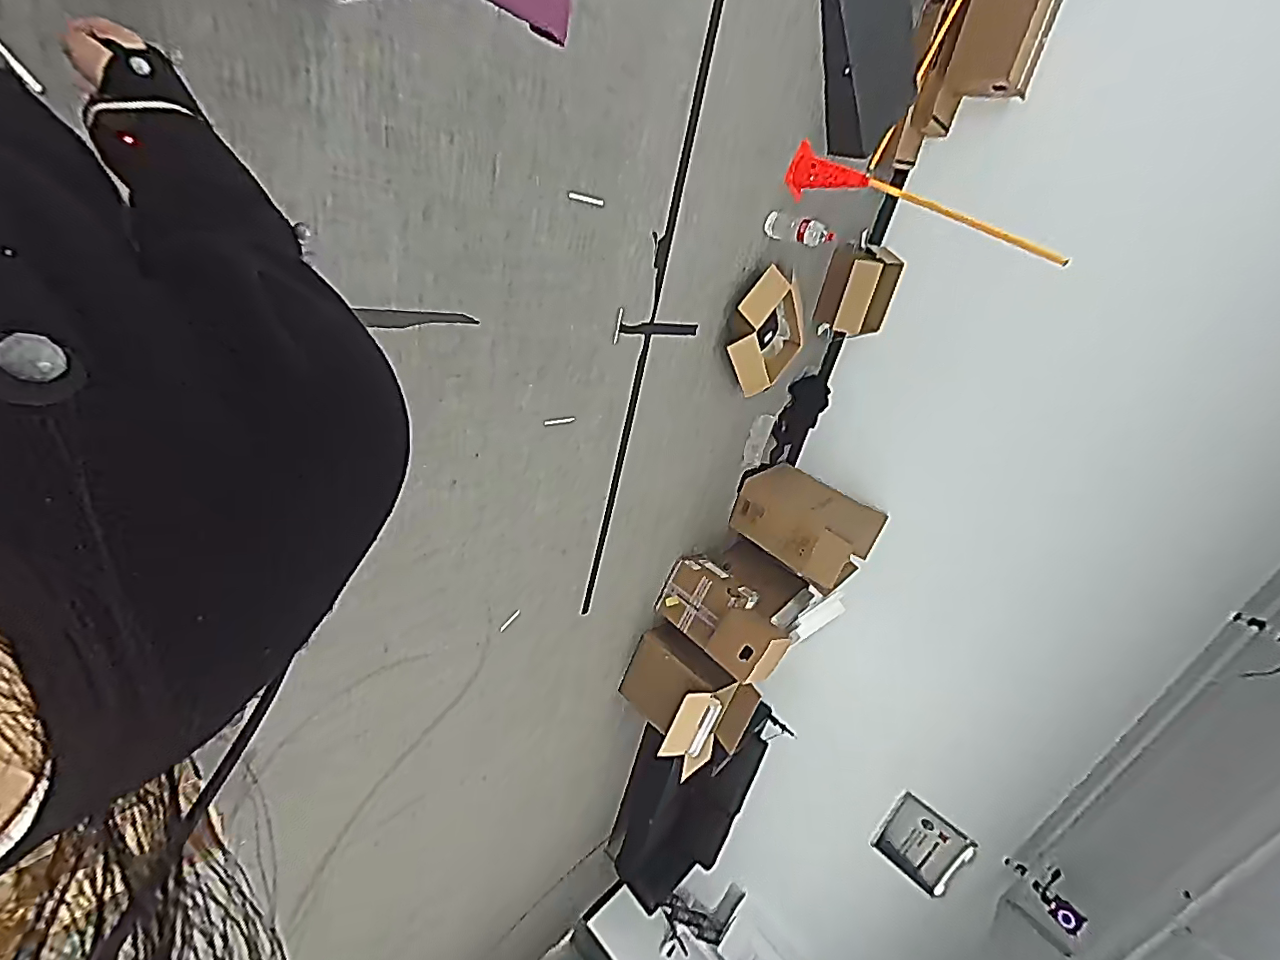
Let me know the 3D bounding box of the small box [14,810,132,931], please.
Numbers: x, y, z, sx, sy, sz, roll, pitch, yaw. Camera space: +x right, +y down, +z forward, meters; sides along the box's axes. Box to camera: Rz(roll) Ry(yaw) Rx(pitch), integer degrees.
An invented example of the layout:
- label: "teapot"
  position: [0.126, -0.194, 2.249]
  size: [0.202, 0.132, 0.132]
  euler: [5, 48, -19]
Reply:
- label: "small box"
  position: [-1.507, 1.029, 1.440]
  size: [0.168, 0.176, 0.179]
  euler: [-26, 136, -40]
